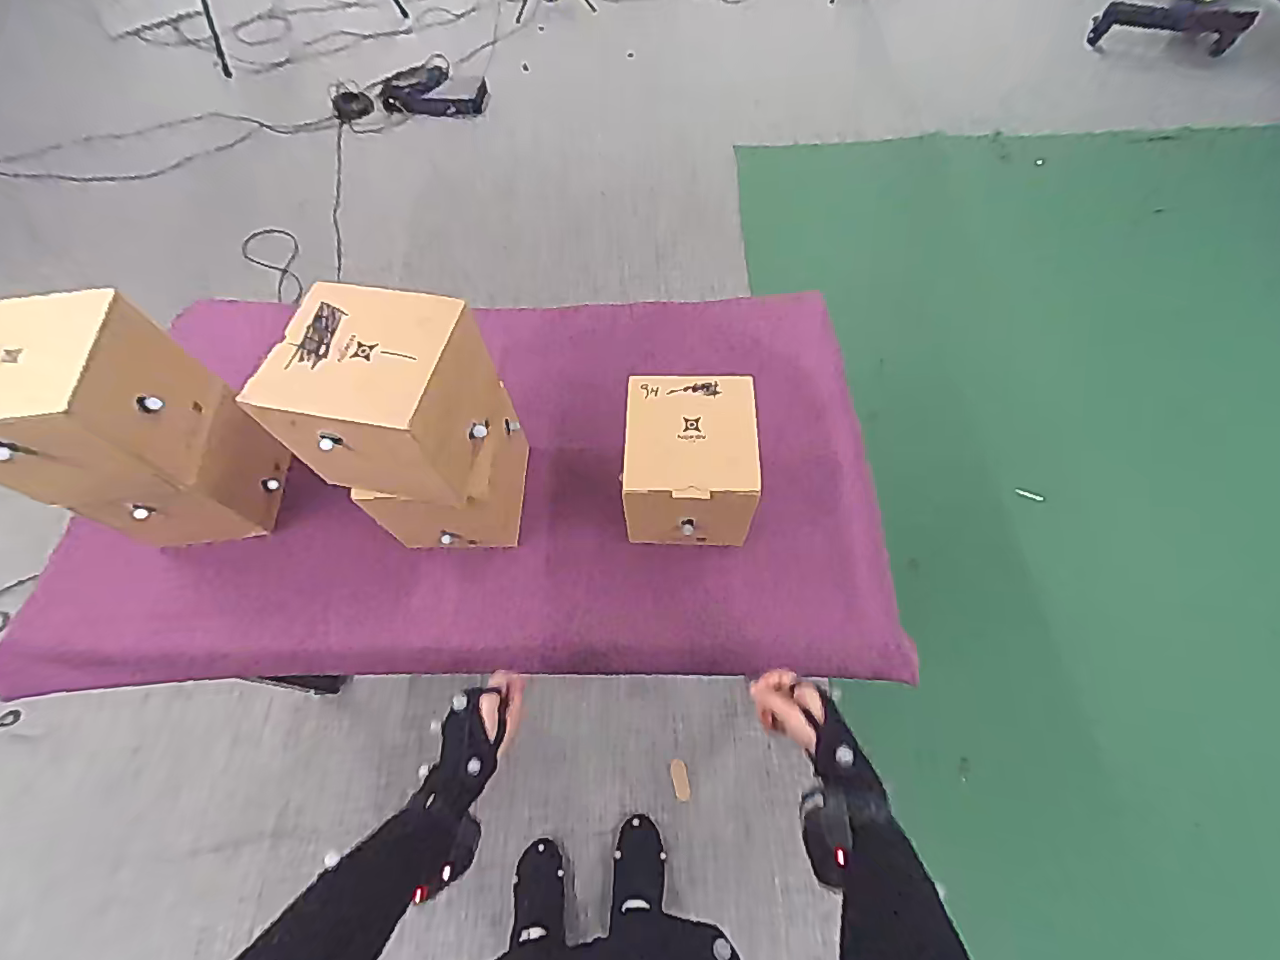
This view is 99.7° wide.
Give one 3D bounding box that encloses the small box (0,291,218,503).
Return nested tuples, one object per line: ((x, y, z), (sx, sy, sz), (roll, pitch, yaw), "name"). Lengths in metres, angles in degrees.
((-0.640, -0.087, 0.620), (0.179, 0.176, 0.168), (-8, 63, -2), "small box")

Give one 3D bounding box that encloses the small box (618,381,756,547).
((0.063, -0.016, 0.742), (0.168, 0.176, 0.179), (1, 62, 3), "small box")

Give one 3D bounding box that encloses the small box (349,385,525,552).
((-0.263, -0.013, 0.751), (0.168, 0.176, 0.179), (0, 62, 2), "small box")

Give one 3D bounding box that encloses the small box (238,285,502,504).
((-0.278, -0.088, 0.606), (0.179, 0.176, 0.168), (10, 63, 6), "small box")

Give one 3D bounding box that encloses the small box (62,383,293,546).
((-0.640, -0.014, 0.765), (0.179, 0.176, 0.168), (-5, 63, -2), "small box")
